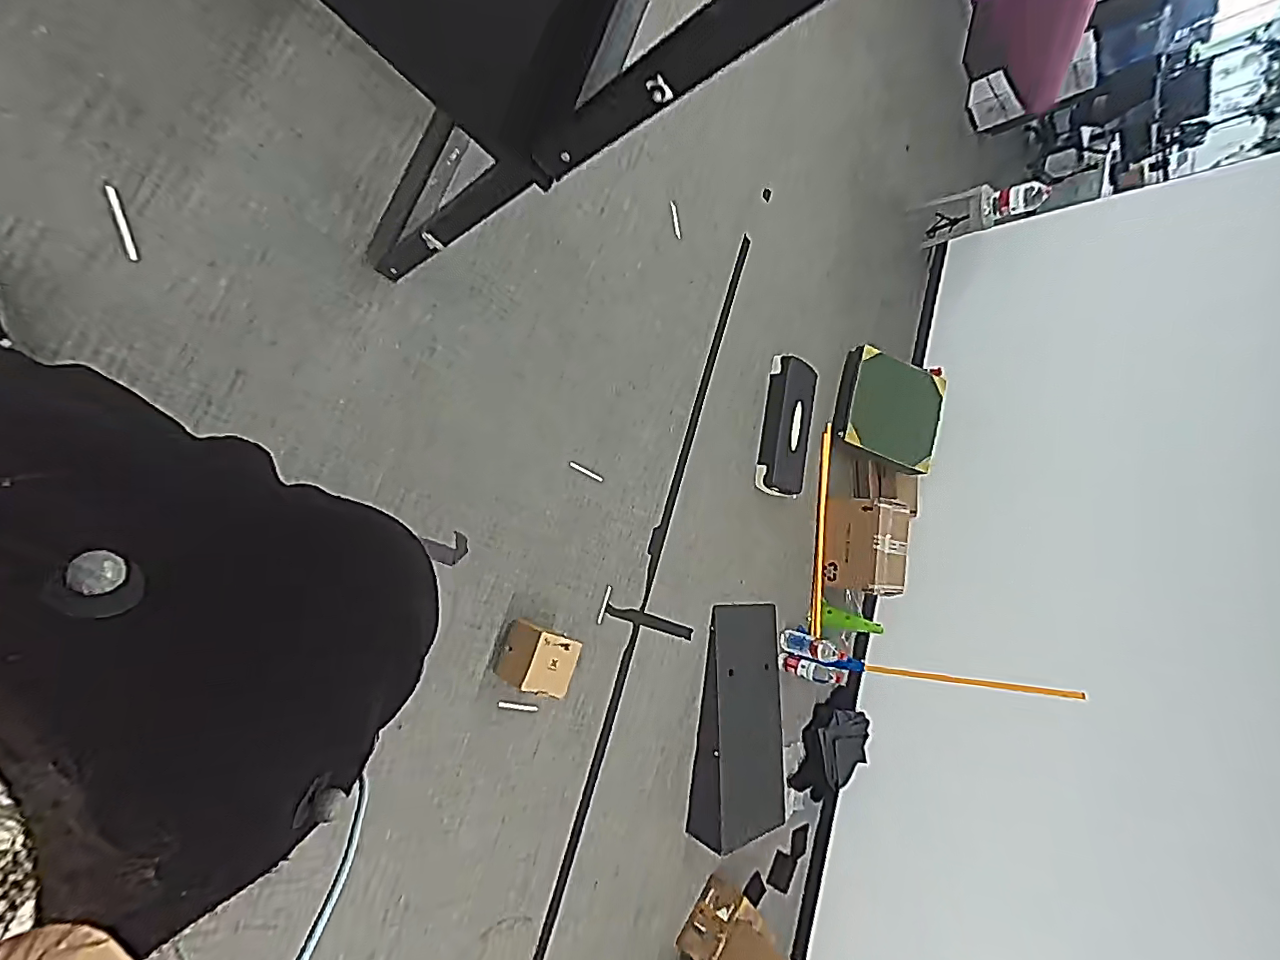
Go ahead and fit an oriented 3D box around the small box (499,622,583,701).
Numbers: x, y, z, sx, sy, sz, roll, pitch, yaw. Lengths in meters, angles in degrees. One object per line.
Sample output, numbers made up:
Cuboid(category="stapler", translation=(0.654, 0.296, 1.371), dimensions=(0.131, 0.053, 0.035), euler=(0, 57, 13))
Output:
Cuboid(category="small box", translation=(-0.313, 0.562, 1.685), dimensions=(0.168, 0.176, 0.179), euler=(32, 72, -39))
